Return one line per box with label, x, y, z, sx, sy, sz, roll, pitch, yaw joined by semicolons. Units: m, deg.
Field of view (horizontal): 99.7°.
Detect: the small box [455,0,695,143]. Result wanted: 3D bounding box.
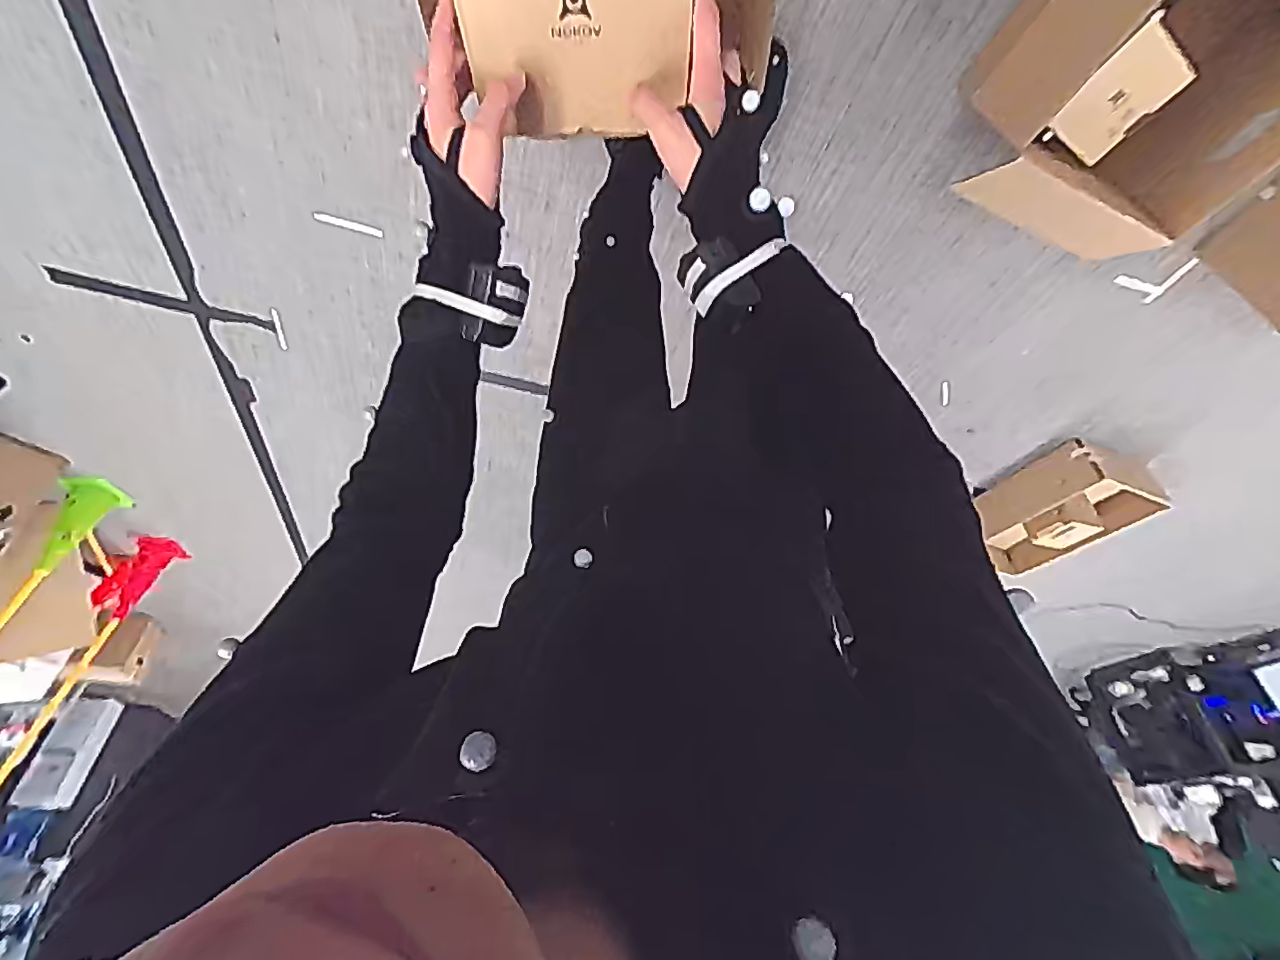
small box;-0.046;-0.391;0.406;0.168;0.176;0.179;-3;153;-2
